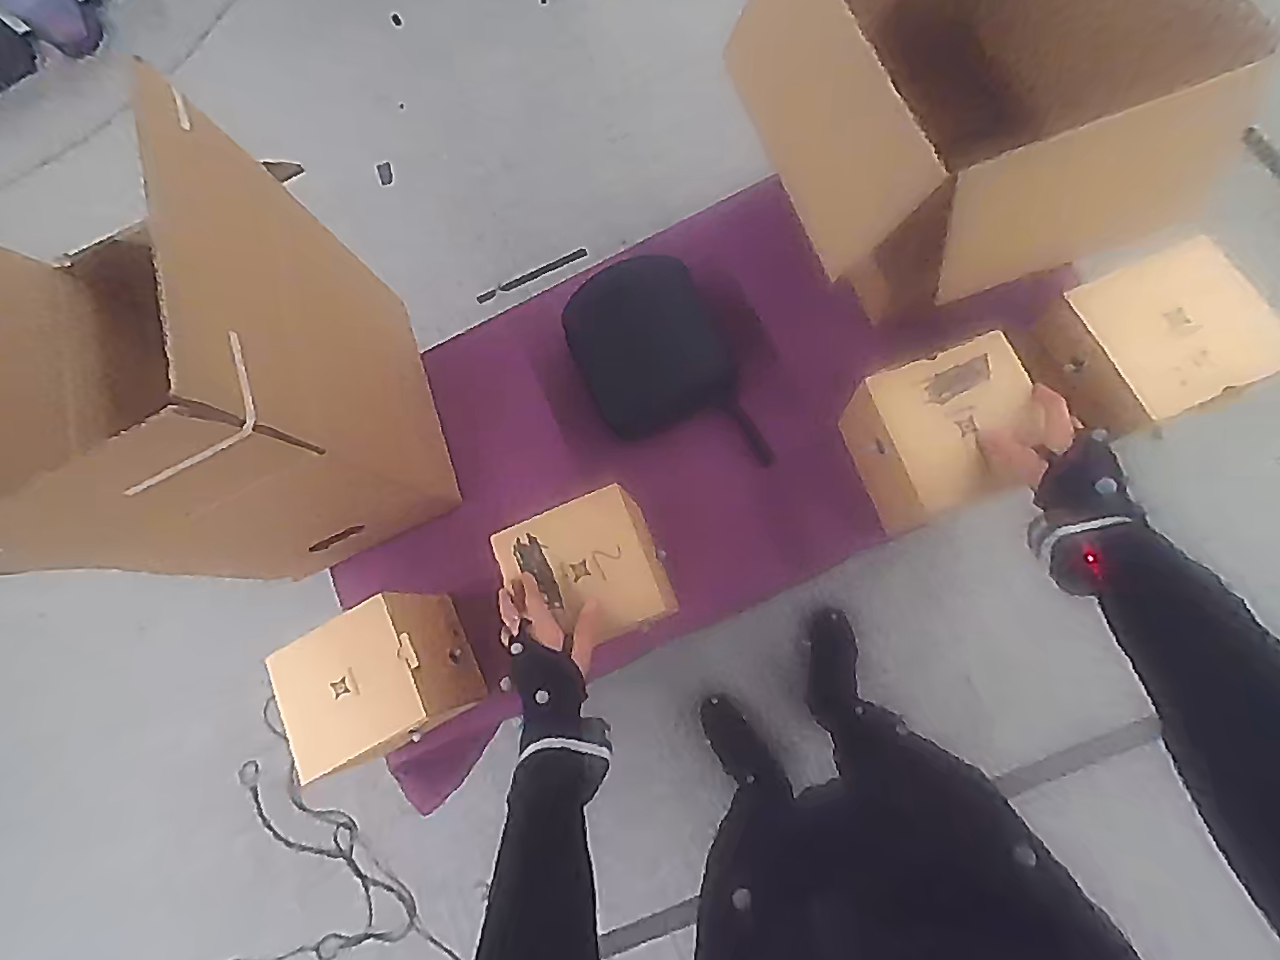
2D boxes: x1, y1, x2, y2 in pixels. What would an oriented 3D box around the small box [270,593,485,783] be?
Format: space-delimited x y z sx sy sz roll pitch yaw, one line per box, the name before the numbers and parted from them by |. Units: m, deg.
small box | -0.345 0.271 0.734 0.179 0.176 0.168 -30 73 1
